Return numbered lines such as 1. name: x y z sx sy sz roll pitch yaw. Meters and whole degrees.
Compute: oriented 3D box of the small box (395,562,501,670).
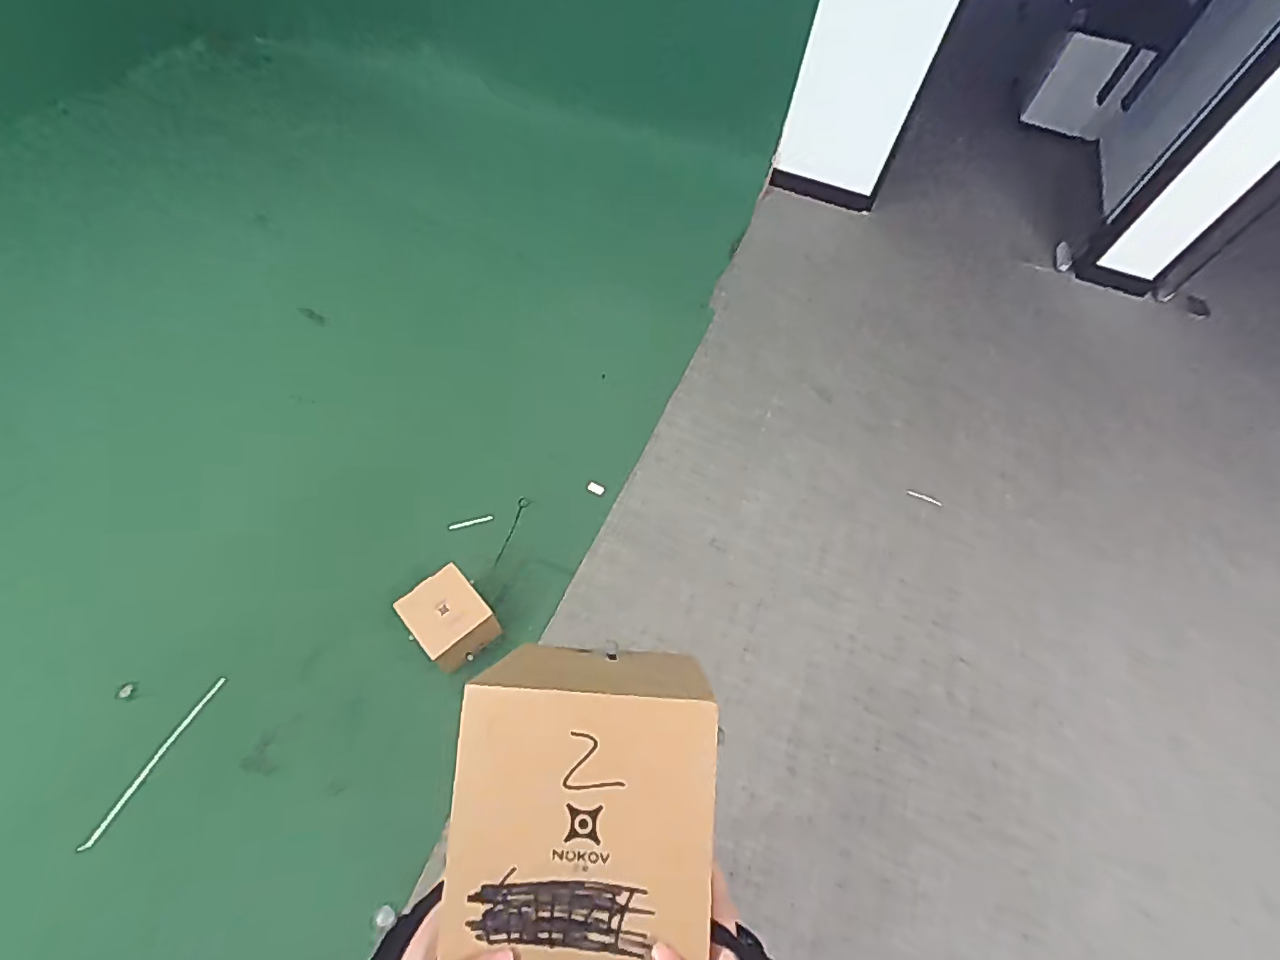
1. small box: -0.468 0.342 1.341 0.168 0.176 0.179 -37 69 -23
